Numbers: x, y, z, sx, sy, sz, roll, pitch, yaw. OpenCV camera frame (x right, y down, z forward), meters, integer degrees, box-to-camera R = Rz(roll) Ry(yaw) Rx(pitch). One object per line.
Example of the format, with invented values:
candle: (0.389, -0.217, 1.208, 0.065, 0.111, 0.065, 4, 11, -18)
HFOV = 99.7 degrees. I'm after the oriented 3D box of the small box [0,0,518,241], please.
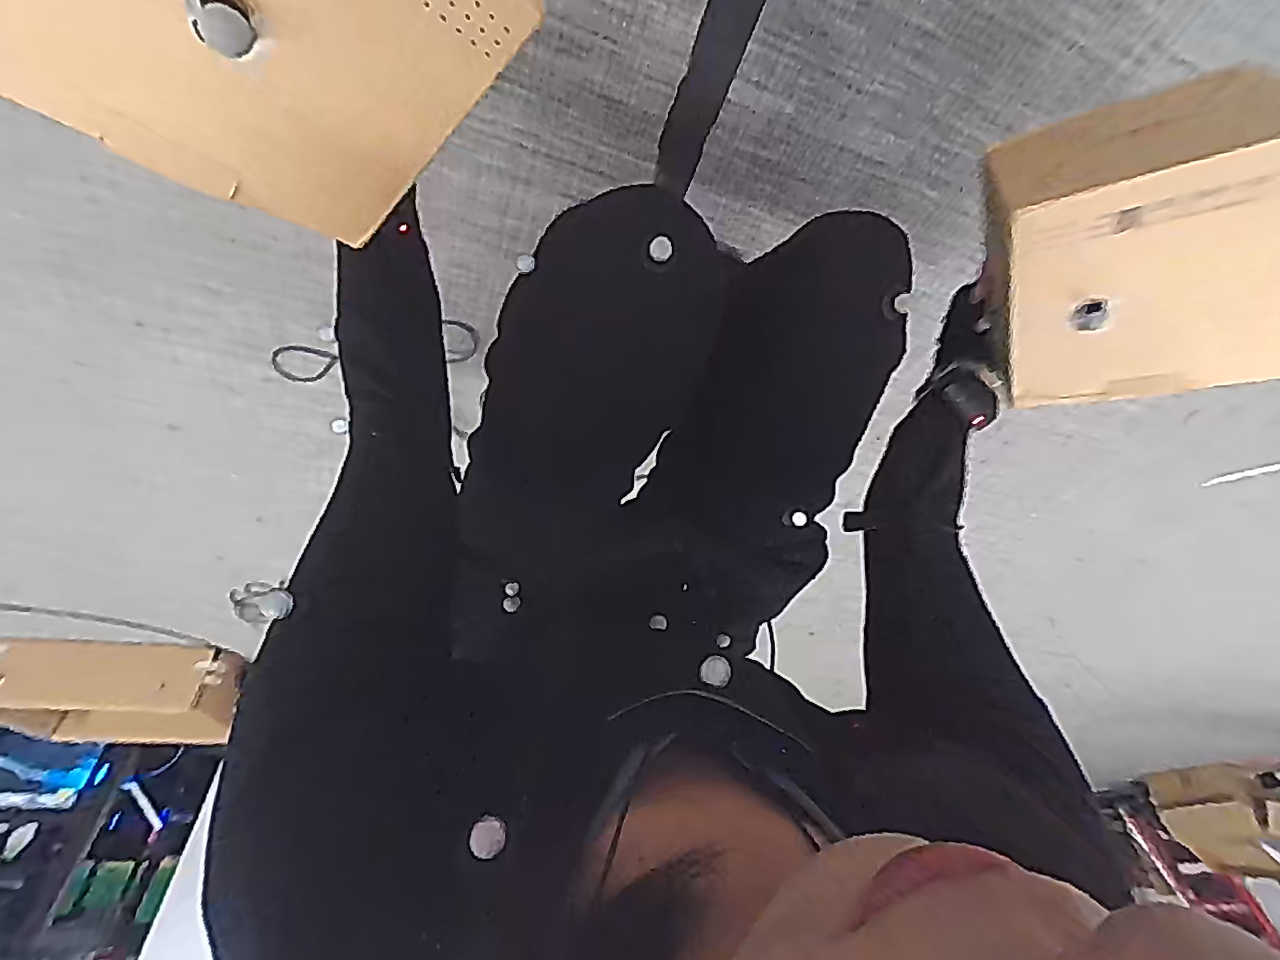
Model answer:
small box: (-0.152, -0.237, 0.197, 0.176, 0.179, 0.168, -18, 160, 38)
